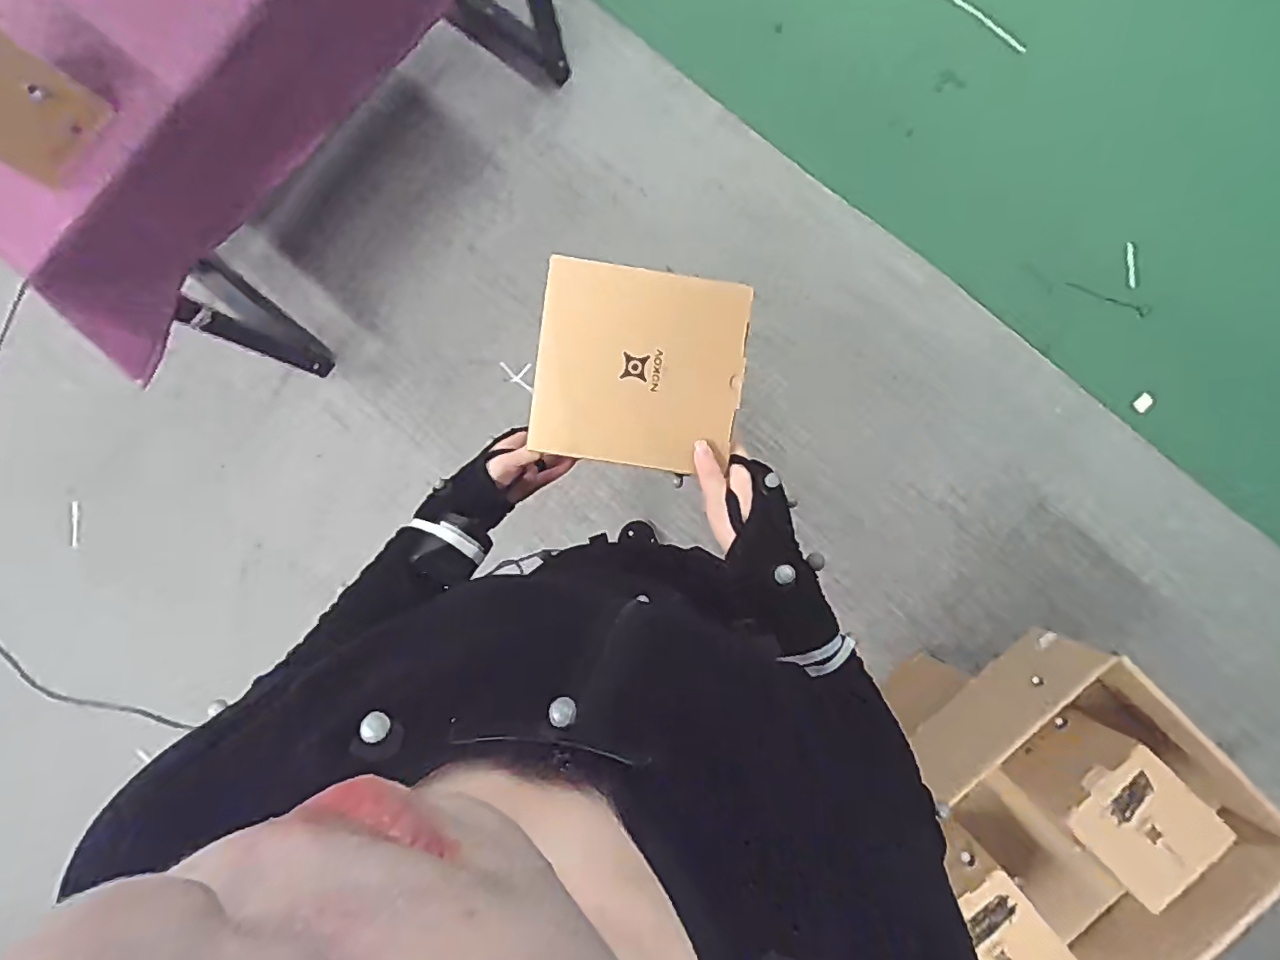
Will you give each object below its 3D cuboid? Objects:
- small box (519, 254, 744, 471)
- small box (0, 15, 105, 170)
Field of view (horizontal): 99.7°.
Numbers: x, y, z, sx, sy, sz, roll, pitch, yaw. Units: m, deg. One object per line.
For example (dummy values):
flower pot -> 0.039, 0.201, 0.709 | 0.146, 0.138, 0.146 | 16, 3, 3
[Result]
small box -> -0.011, -0.103, 0.539 | 0.179, 0.176, 0.168 | 7, 94, -4
small box -> -0.975, -0.604, 0.801 | 0.179, 0.176, 0.168 | 38, 88, 6
